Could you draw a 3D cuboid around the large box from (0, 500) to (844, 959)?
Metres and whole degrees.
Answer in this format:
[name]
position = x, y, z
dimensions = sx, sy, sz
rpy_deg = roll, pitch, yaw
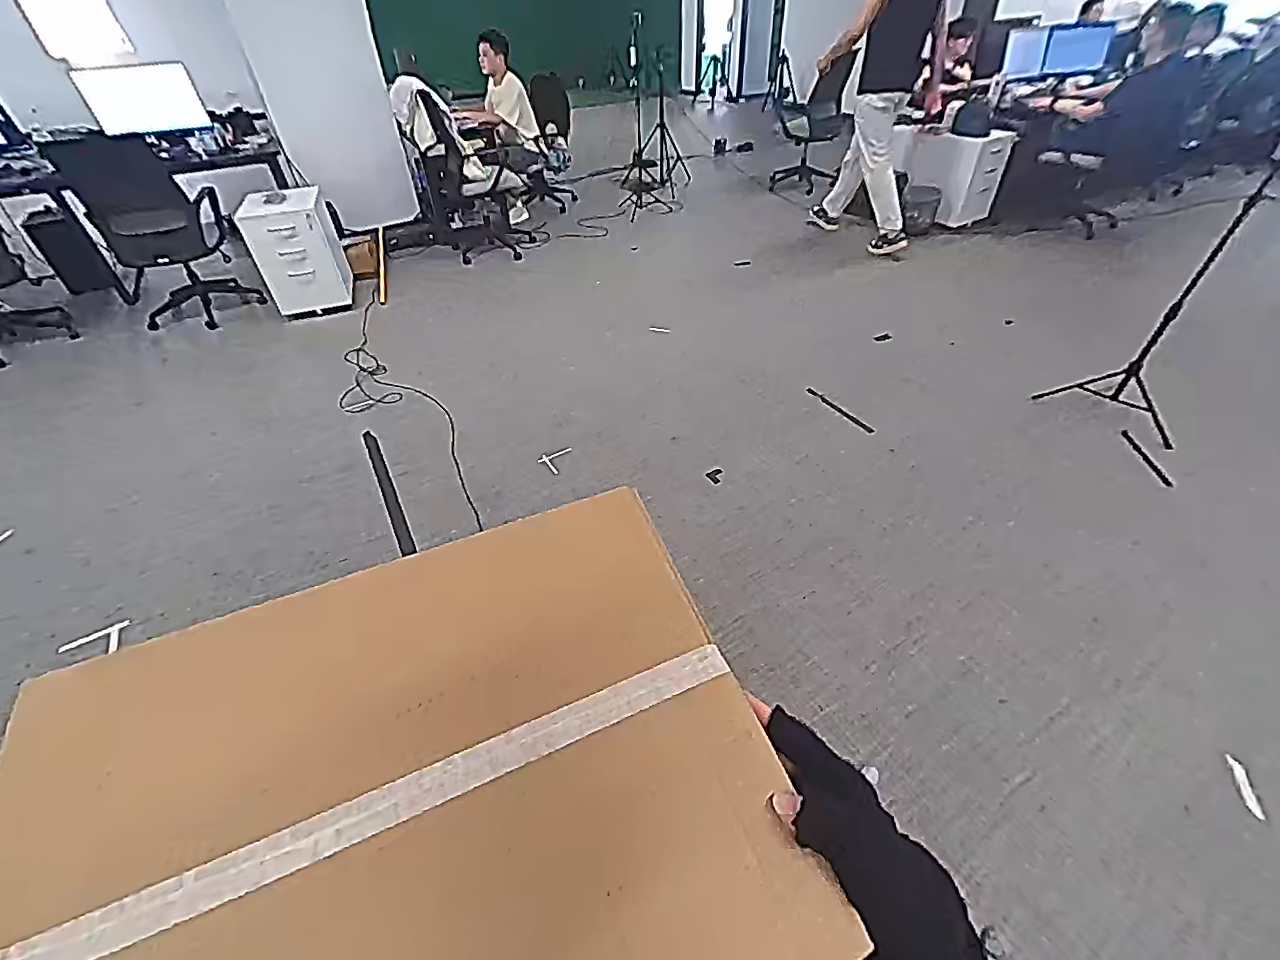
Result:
[large box]
position = -0.134, 0.276, 0.424
dimensions = 0.408, 0.320, 0.320
rpy_deg = -18, 54, -15
